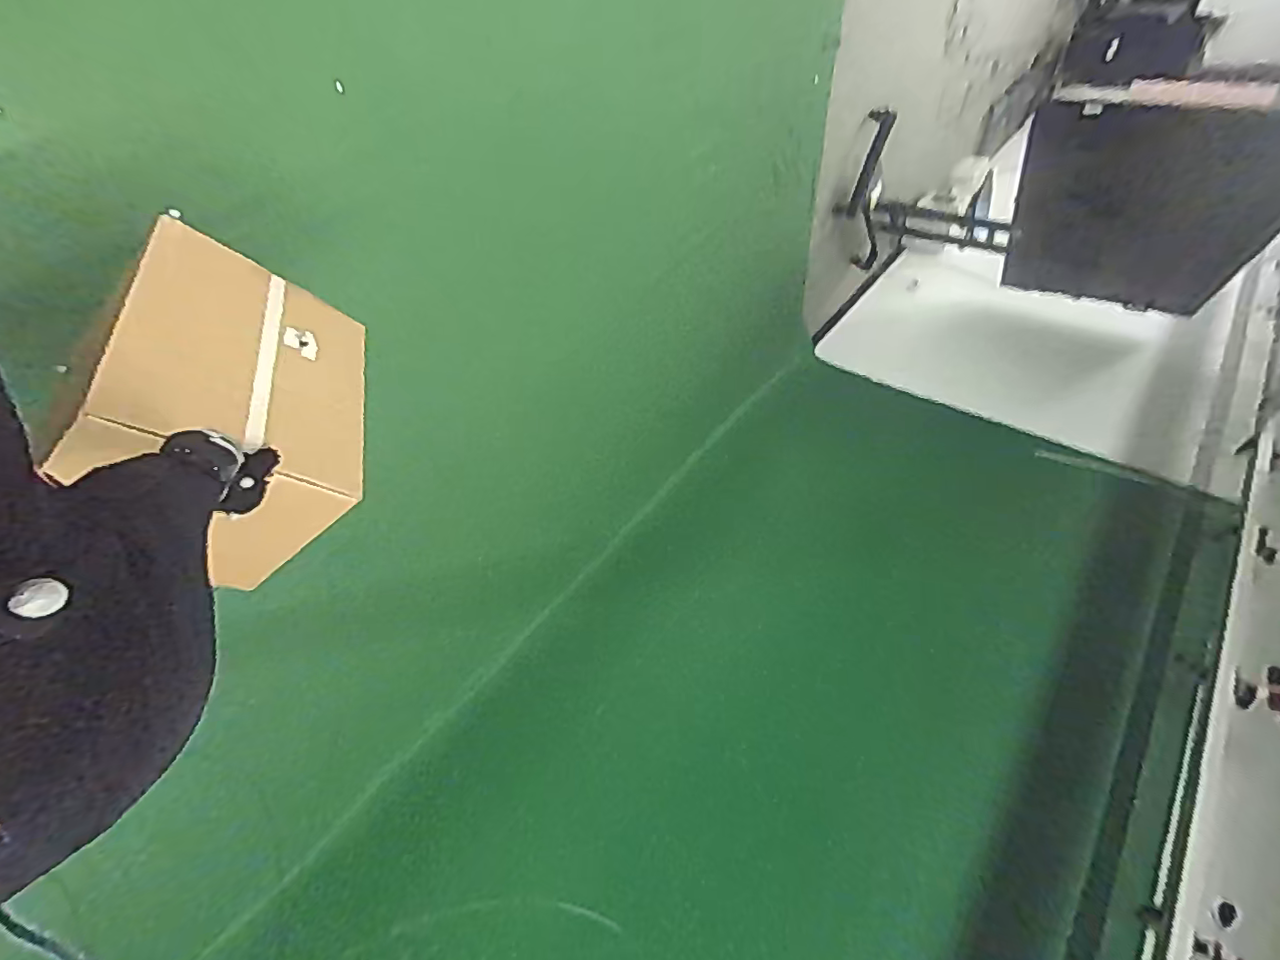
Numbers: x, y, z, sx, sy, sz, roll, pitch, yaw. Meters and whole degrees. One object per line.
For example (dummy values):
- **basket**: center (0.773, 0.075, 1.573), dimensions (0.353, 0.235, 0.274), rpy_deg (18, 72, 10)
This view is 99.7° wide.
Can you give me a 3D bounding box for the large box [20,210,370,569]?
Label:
- **large box**: center (-0.668, -0.119, 0.863), dimensions (0.320, 0.408, 0.320), rpy_deg (-33, 145, 21)
